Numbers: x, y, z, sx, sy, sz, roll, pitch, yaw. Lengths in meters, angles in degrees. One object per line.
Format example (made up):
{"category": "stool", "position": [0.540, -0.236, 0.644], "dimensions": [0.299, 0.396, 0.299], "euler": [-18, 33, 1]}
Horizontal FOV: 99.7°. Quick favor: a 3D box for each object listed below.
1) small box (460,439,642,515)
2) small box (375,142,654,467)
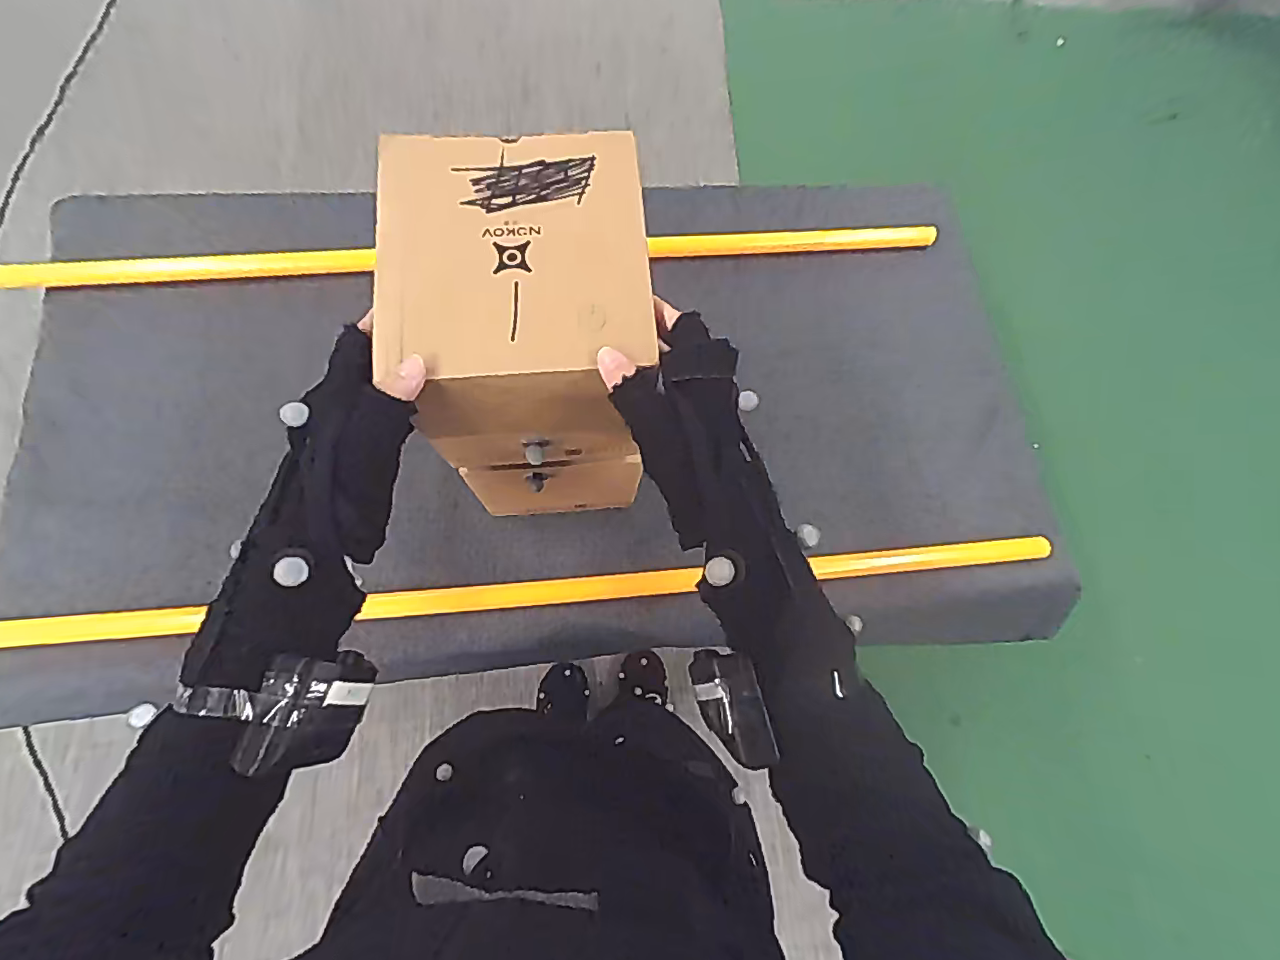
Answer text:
{"category": "small box", "position": [-0.093, -0.070, 0.588], "dimensions": [0.168, 0.176, 0.179], "euler": [-4, 73, -6]}
{"category": "small box", "position": [-0.083, -0.121, 0.417], "dimensions": [0.168, 0.176, 0.179], "euler": [-4, 75, -4]}
